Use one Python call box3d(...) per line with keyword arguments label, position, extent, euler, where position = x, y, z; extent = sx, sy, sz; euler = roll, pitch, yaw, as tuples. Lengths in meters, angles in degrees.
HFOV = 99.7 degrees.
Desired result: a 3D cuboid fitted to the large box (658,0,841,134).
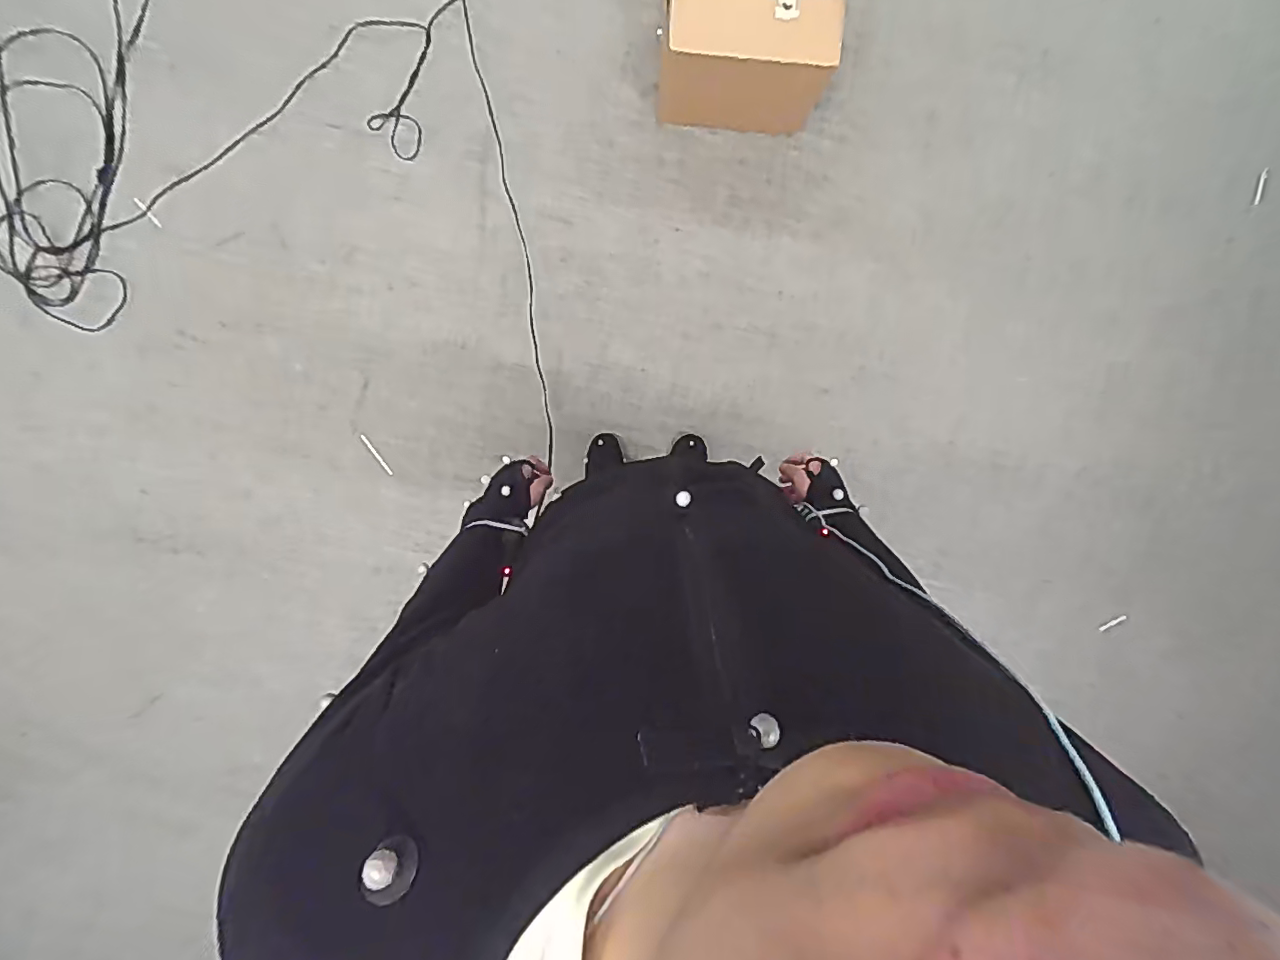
box3d(label="large box", position=(0.261, -1.140, 1.389), extent=(0.408, 0.320, 0.320), euler=(3, 96, -4))
